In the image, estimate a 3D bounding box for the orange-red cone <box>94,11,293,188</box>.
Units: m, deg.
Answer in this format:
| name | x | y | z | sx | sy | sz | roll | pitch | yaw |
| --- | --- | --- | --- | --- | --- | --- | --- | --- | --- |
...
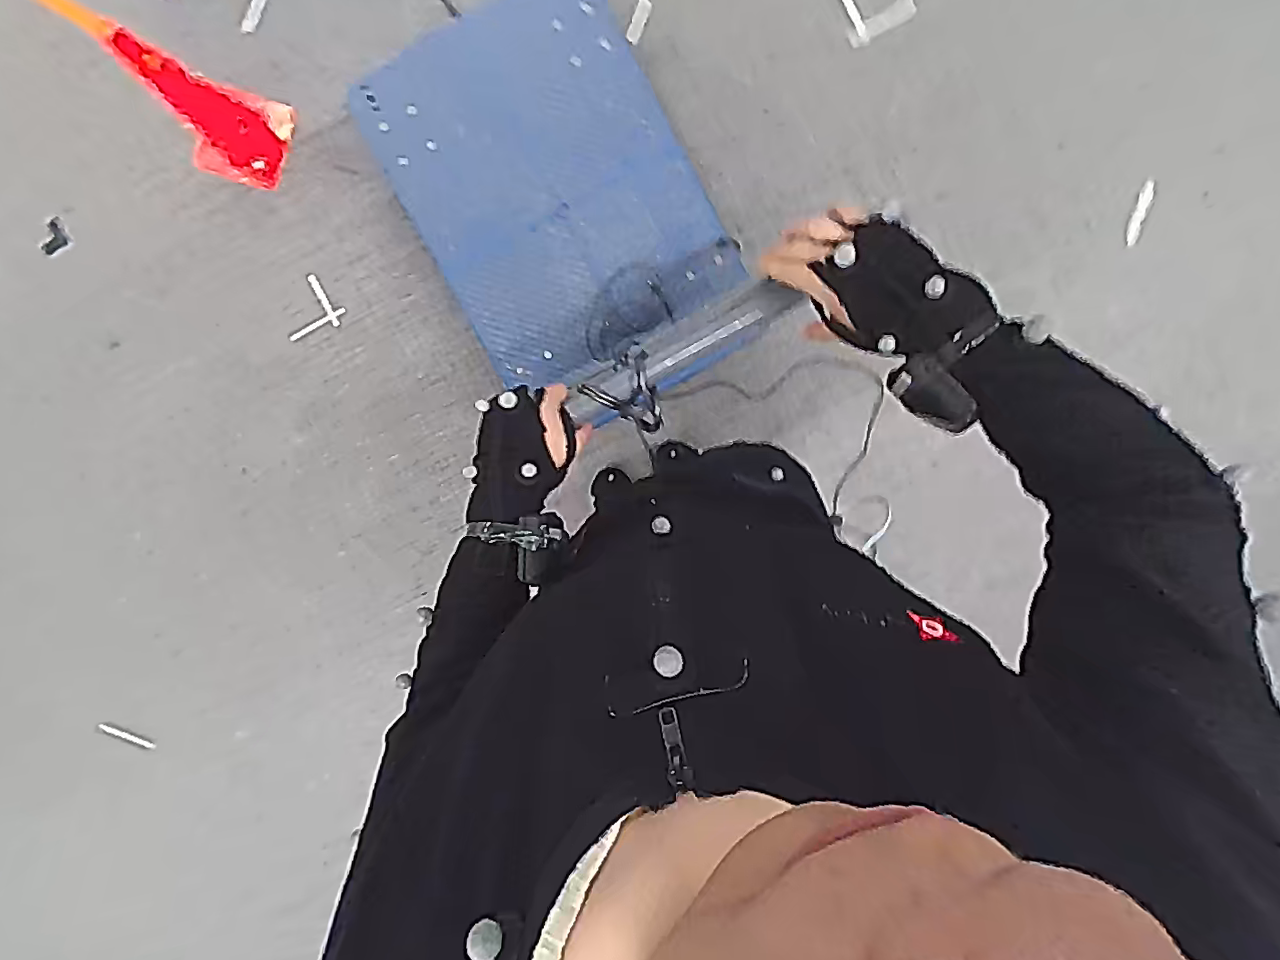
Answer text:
| name | x | y | z | sx | sy | sz | roll | pitch | yaw |
| --- | --- | --- | --- | --- | --- | --- | --- | --- | --- |
| orange-red cone | -0.939 | -0.808 | 1.114 | 0.198 | 0.360 | 0.199 | 19 | 92 | -3 |
